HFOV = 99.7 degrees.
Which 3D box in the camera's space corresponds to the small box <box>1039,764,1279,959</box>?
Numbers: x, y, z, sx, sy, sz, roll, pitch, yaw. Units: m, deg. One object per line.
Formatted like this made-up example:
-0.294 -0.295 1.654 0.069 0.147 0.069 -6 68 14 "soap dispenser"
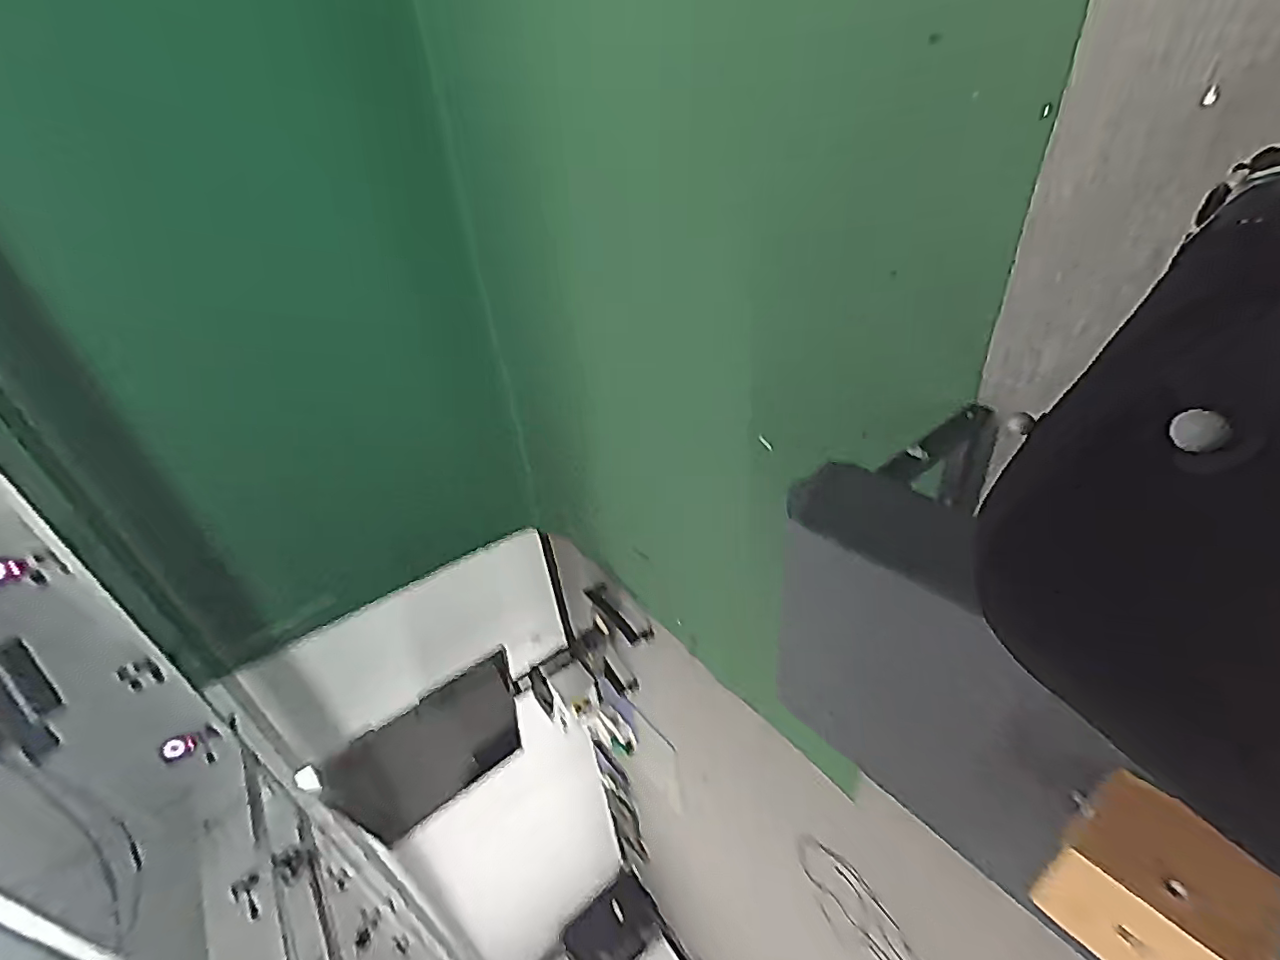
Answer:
0.680 0.523 0.709 0.179 0.176 0.168 33 139 44 "small box"
